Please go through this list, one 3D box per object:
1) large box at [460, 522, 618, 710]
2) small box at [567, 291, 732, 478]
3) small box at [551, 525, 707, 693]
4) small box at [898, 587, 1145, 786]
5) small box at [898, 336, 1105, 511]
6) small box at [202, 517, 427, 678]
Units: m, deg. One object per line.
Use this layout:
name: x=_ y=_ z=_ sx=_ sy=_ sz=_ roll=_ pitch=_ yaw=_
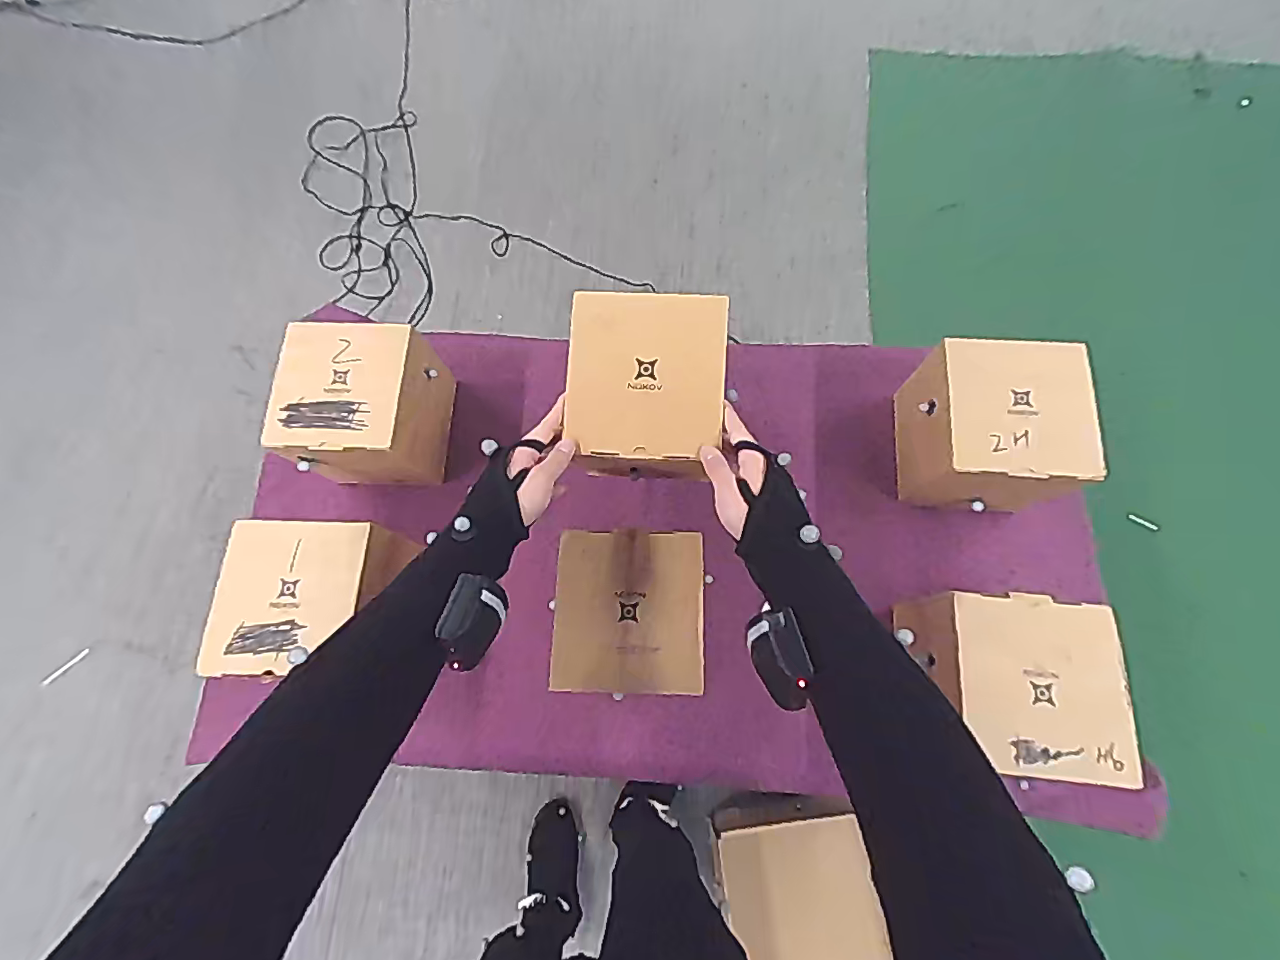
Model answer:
large box: x=-0.214 y=0.333 z=1.316 sx=0.320 sy=0.320 sz=0.408 roll=1 pitch=71 yaw=2
small box: x=0.014 y=-0.102 z=0.644 sx=0.168 sy=0.176 sz=0.179 roll=3 pitch=84 yaw=3
small box: x=-0.006 y=0.162 z=0.667 sx=0.168 sy=0.176 sz=0.179 roll=1 pitch=72 yaw=4
small box: x=0.413 y=0.231 z=0.624 sx=0.168 sy=0.176 sz=0.179 roll=4 pitch=70 yaw=6
small box: x=0.455 y=-0.067 z=0.714 sx=0.168 sy=0.176 sz=0.179 roll=4 pitch=74 yaw=6
small box: x=-0.390 y=0.152 z=0.685 sx=0.168 sy=0.176 sz=0.179 roll=1 pitch=71 yaw=2
